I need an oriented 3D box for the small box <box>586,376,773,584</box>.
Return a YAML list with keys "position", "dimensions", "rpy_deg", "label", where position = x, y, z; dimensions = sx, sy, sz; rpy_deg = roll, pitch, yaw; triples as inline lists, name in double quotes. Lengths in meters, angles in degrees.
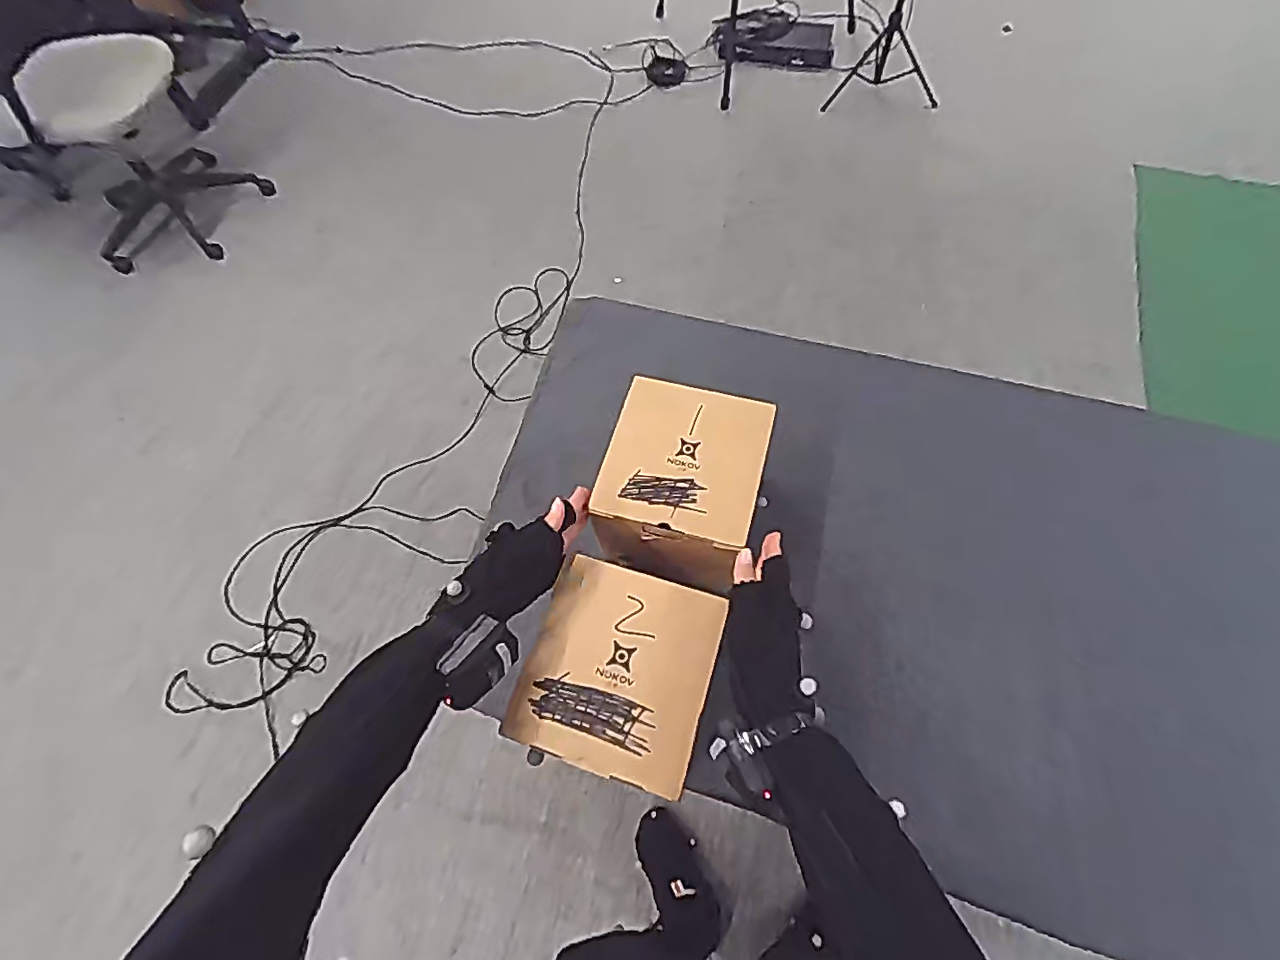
- position: [0.050, 0.008, 0.646]
  dimensions: [0.168, 0.176, 0.179]
  rpy_deg: [14, 66, 10]
  label: "small box"
